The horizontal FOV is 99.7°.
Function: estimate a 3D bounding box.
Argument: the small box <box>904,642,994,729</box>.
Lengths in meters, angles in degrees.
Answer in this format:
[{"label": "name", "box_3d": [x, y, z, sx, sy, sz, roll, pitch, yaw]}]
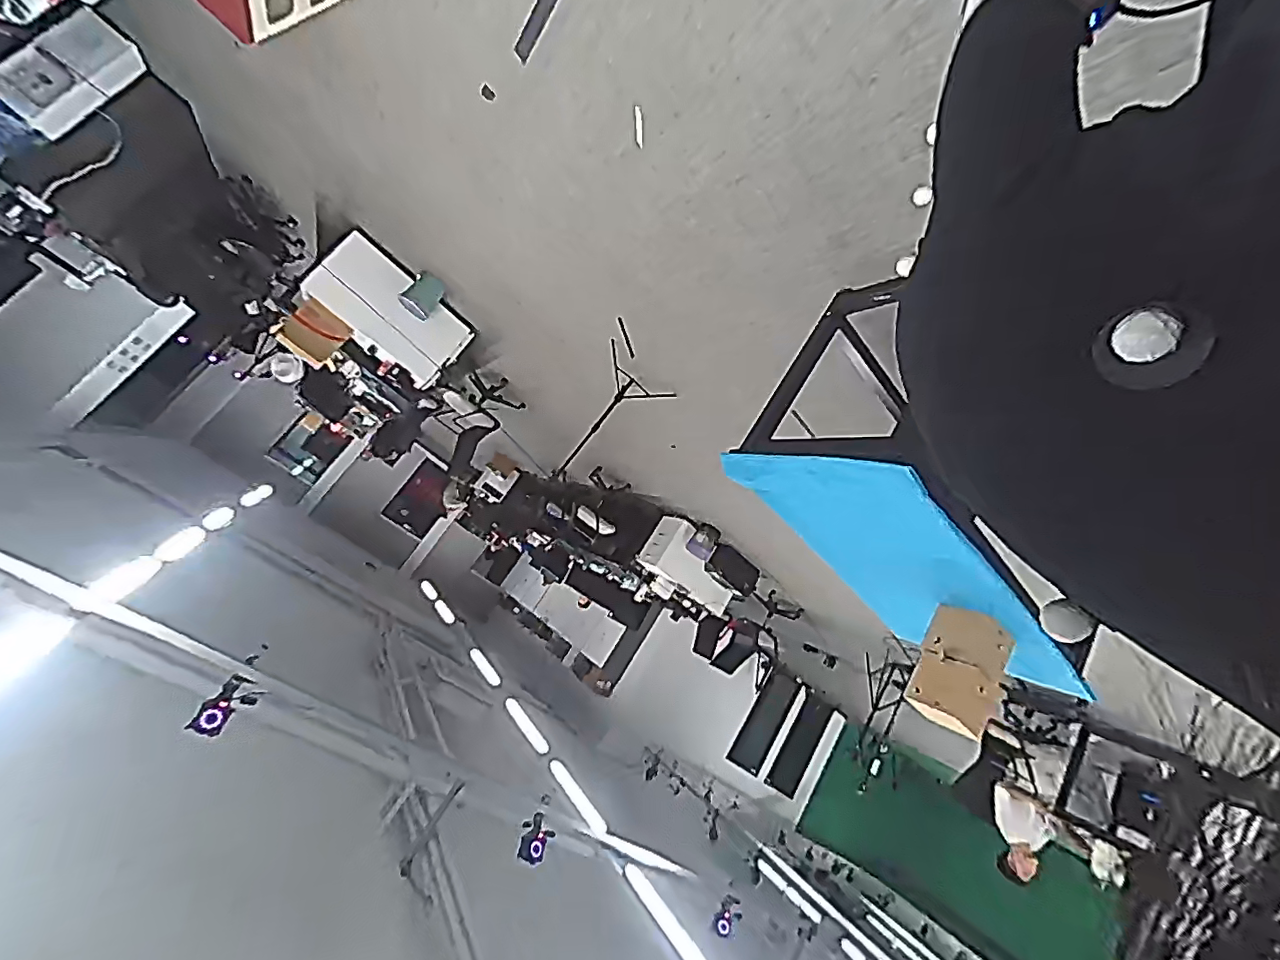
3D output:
[{"label": "small box", "box_3d": [0.953, 0.639, 1.677, 0.179, 0.176, 0.168, 42, 163, -26]}]

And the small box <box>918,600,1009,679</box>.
[{"label": "small box", "box_3d": [1.039, 0.507, 1.733, 0.168, 0.176, 0.179, 41, 162, -27]}]
